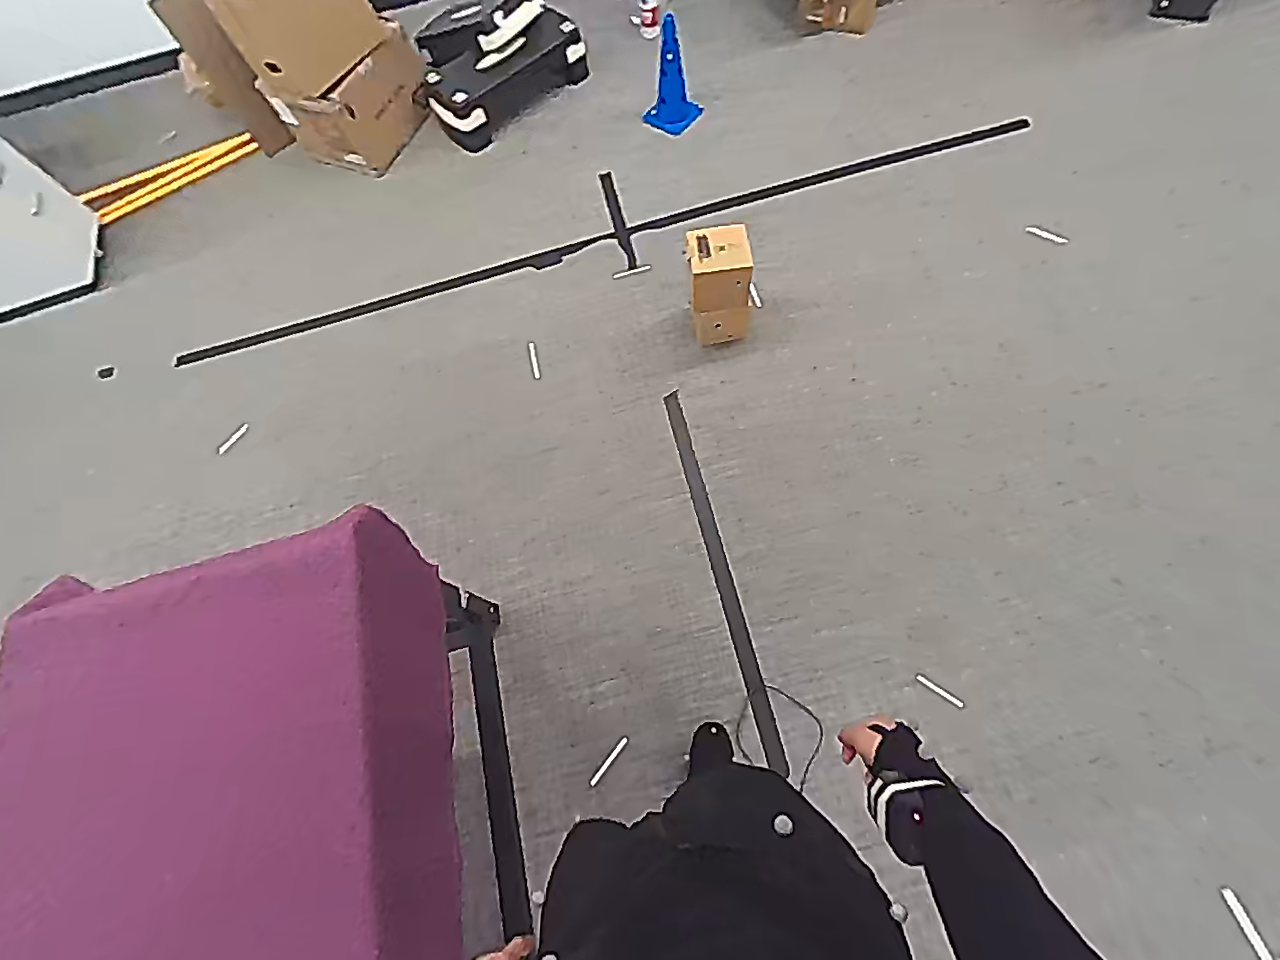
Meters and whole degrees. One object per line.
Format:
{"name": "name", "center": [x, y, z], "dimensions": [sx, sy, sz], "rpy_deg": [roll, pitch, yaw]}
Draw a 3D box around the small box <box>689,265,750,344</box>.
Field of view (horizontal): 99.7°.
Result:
{"name": "small box", "center": [0.260, -0.568, 1.780], "dimensions": [0.168, 0.176, 0.179], "rpy_deg": [-11, 67, 2]}
